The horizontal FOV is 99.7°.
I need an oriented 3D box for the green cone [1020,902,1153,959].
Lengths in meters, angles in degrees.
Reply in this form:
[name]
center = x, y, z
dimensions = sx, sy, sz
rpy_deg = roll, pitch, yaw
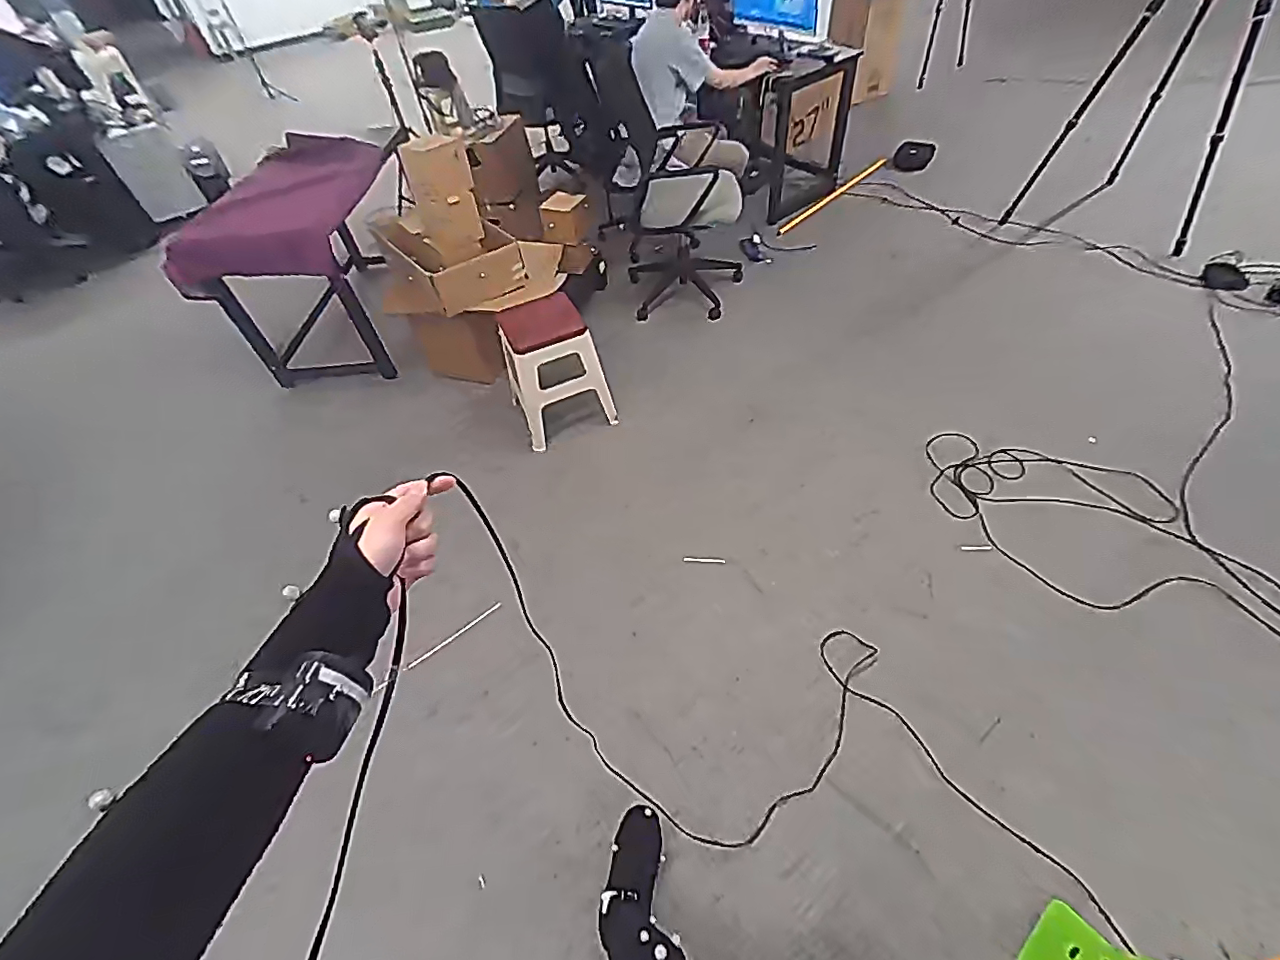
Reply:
[green cone]
center = 0.886, 0.906, 0.963
dimensions = 0.202, 0.368, 0.200
rpy_deg = -36, 55, -23
